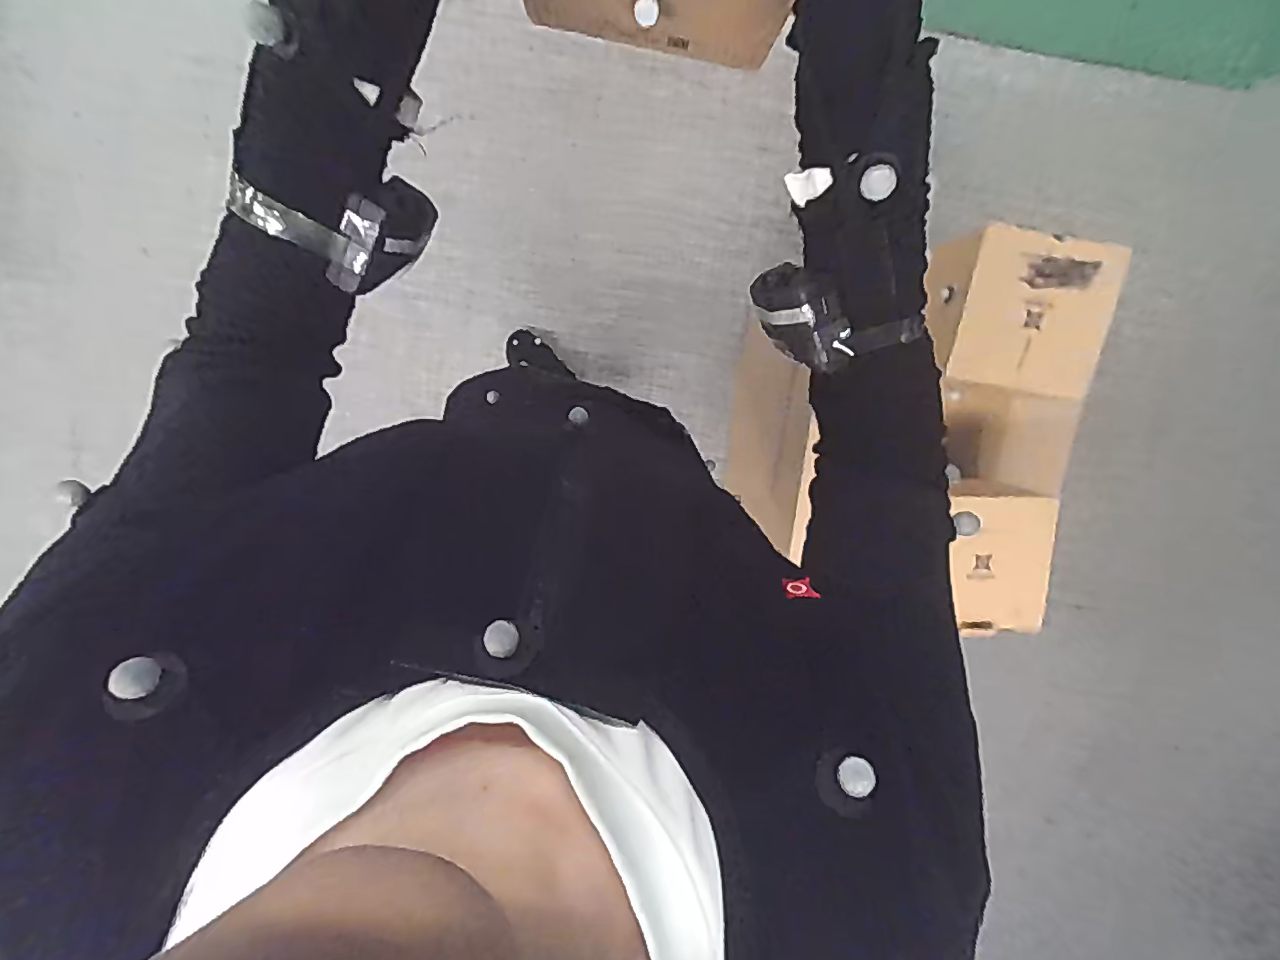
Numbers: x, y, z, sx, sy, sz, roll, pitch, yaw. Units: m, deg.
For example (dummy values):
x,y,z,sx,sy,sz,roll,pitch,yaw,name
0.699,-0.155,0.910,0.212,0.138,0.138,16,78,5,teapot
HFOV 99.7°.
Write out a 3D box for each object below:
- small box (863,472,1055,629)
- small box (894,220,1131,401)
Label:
x,y,z,sx,sy,sz,roll,pitch,yaw,name
0.422,0.088,0.747,0.168,0.176,0.179,0,99,2,small box
0.454,-0.205,0.693,0.168,0.176,0.179,11,101,1,small box
